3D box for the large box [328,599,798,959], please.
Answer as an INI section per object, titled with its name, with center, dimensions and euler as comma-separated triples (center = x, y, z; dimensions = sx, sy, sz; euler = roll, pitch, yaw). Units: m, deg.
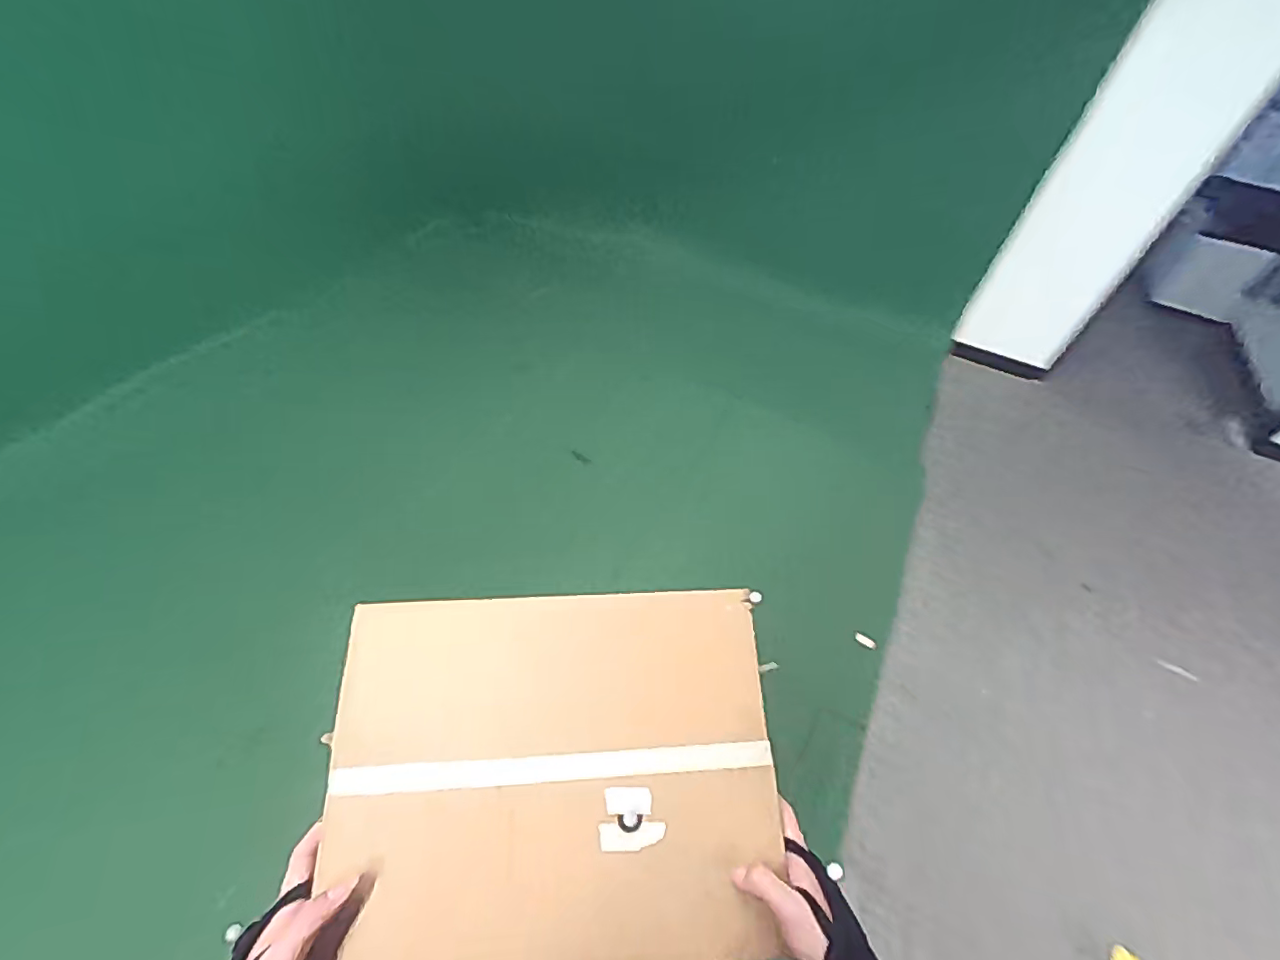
[large box]
center = -0.079, 0.334, 0.643
dimensions = 0.408, 0.320, 0.320
euler = -1, 68, -5
